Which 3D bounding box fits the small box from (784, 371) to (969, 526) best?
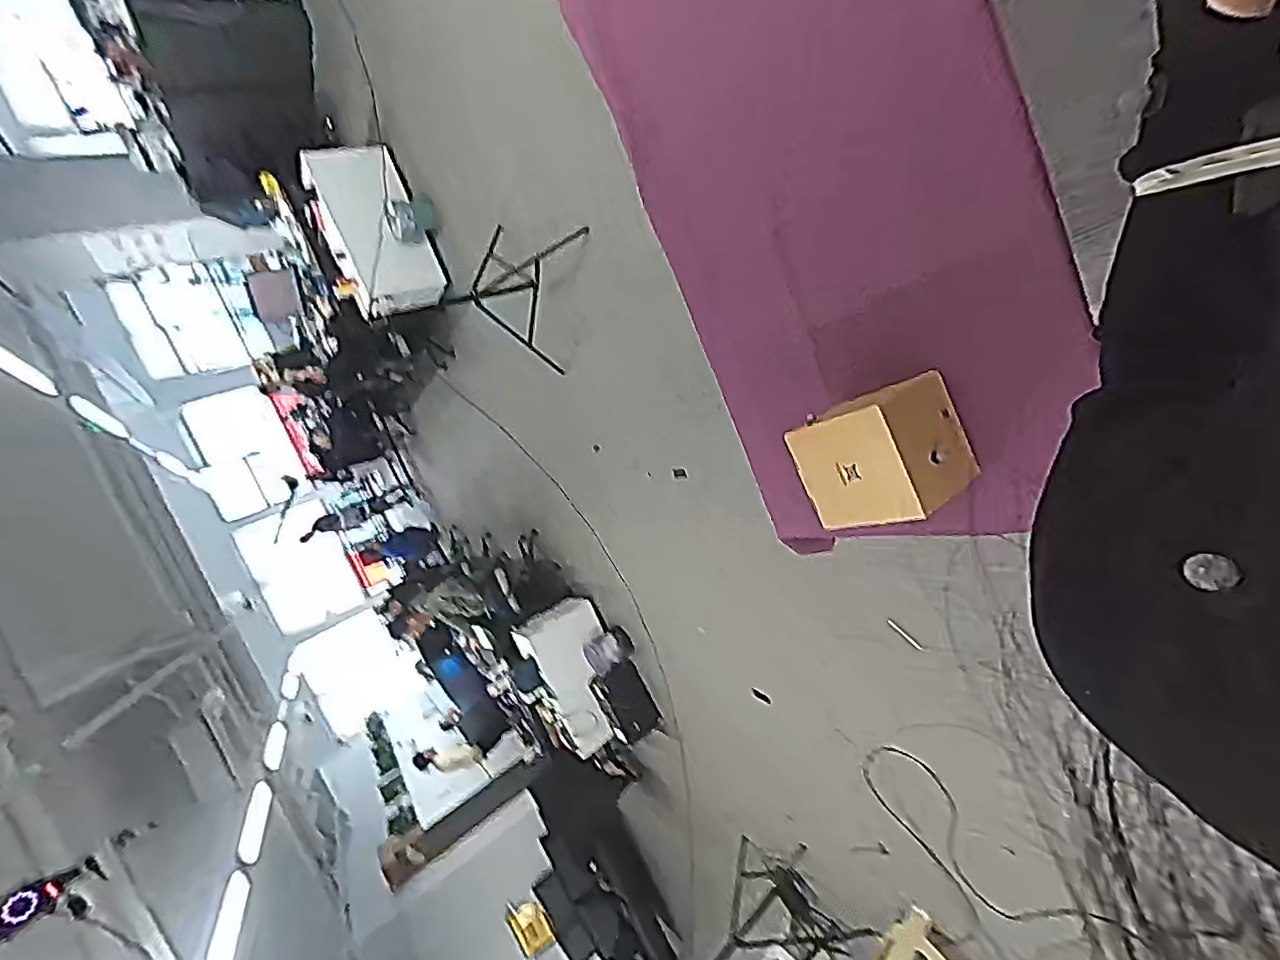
[{"bbox_3d":[0.361,-0.046,0.818,0.179,0.176,0.168,-20,96,60],"label":"small box"}]
